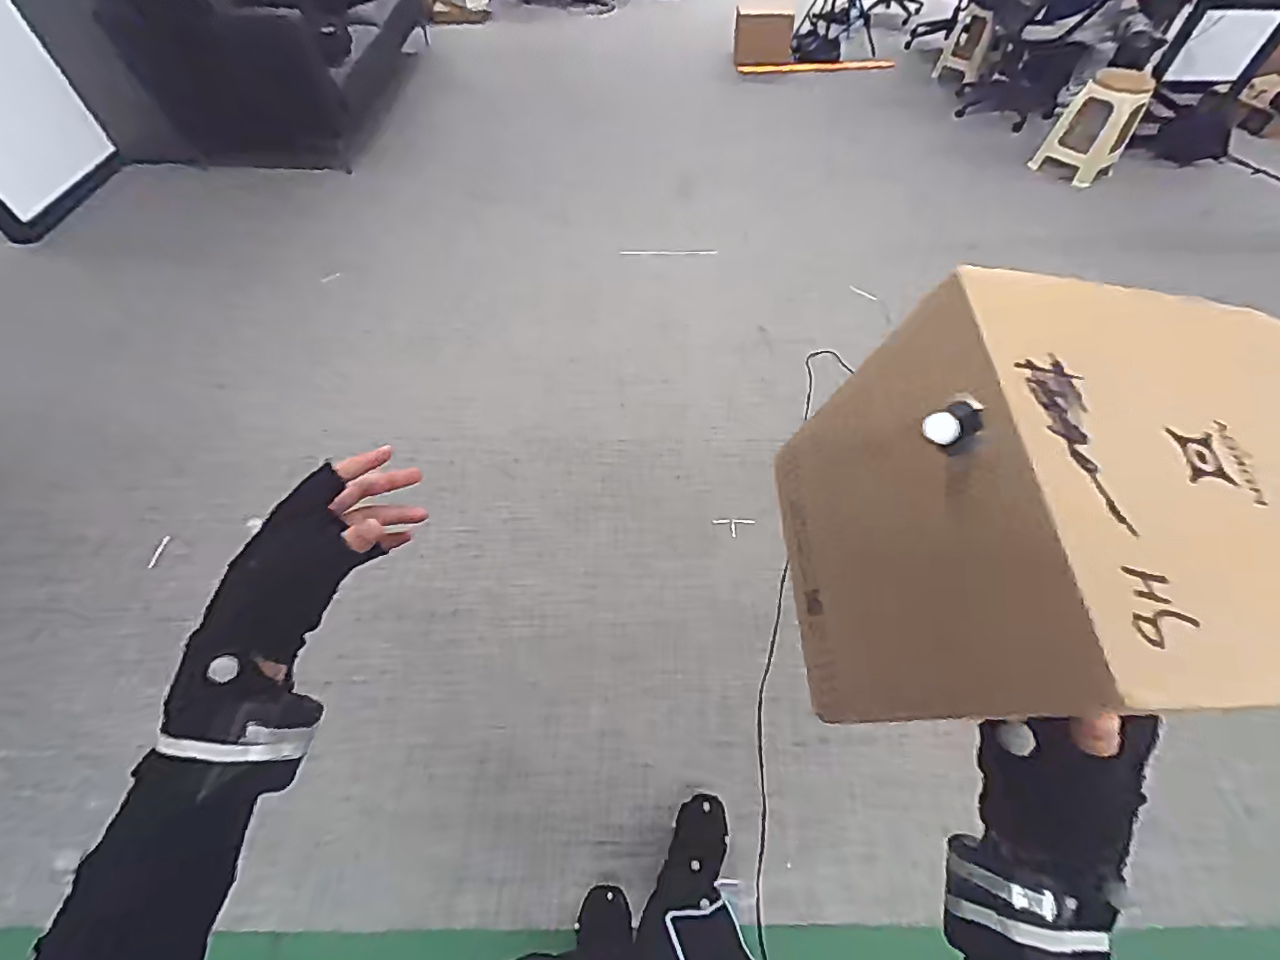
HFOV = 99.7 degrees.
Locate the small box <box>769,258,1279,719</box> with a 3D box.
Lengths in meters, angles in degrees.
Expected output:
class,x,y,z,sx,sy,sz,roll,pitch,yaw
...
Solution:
class,x,y,z,sx,sy,sz,roll,pitch,yaw
small box,0.188,0.026,0.271,0.179,0.176,0.168,4,64,-14
